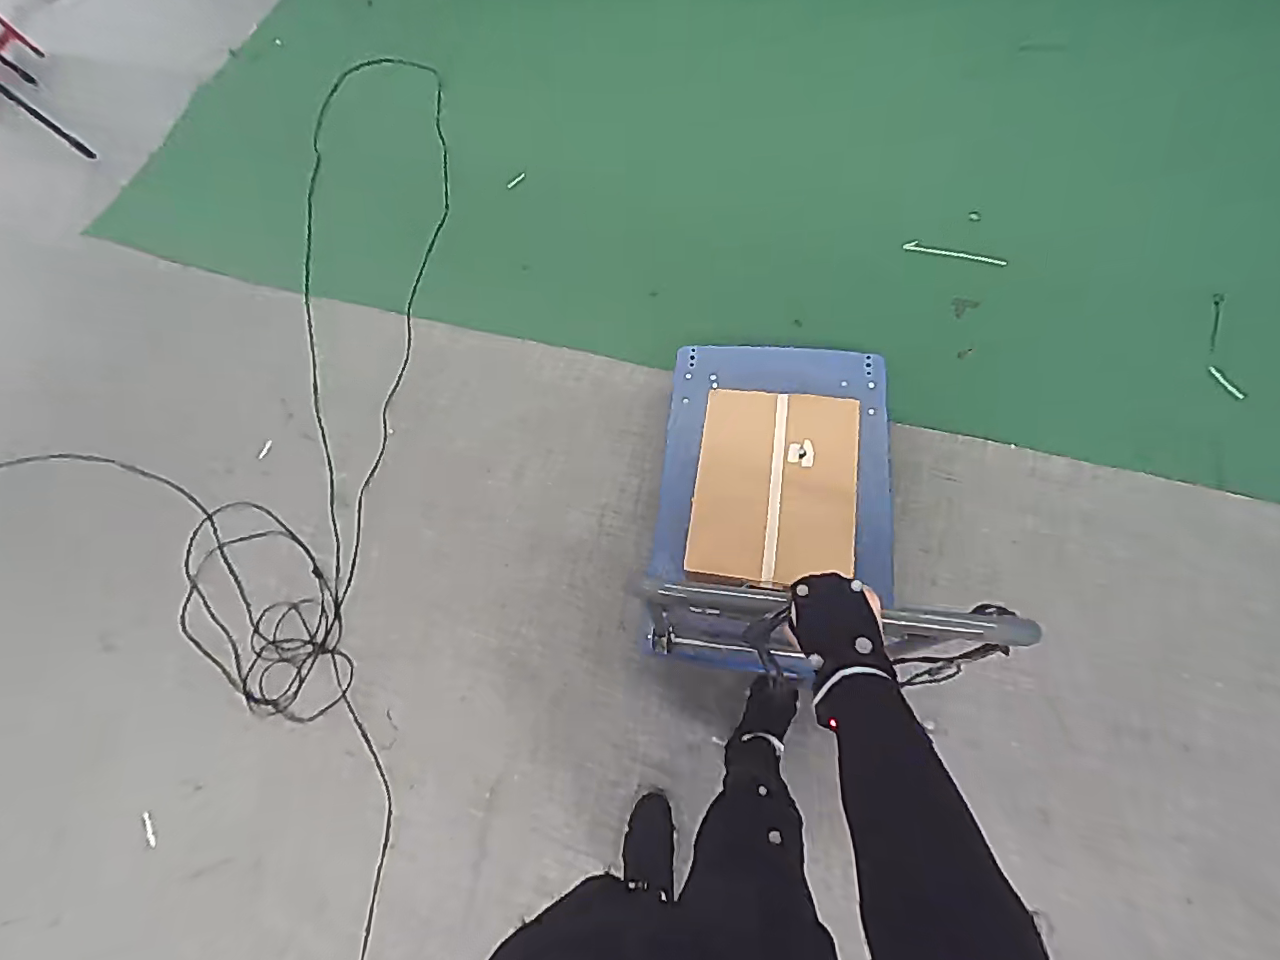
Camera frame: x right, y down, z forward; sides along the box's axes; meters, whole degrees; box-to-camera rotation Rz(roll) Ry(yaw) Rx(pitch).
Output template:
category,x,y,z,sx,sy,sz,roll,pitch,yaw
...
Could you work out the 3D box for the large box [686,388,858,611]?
category,x,y,z,sx,sy,sz,roll,pitch,yaw
large box,0.287,0.055,1.203,0.320,0.320,0.408,7,70,10
